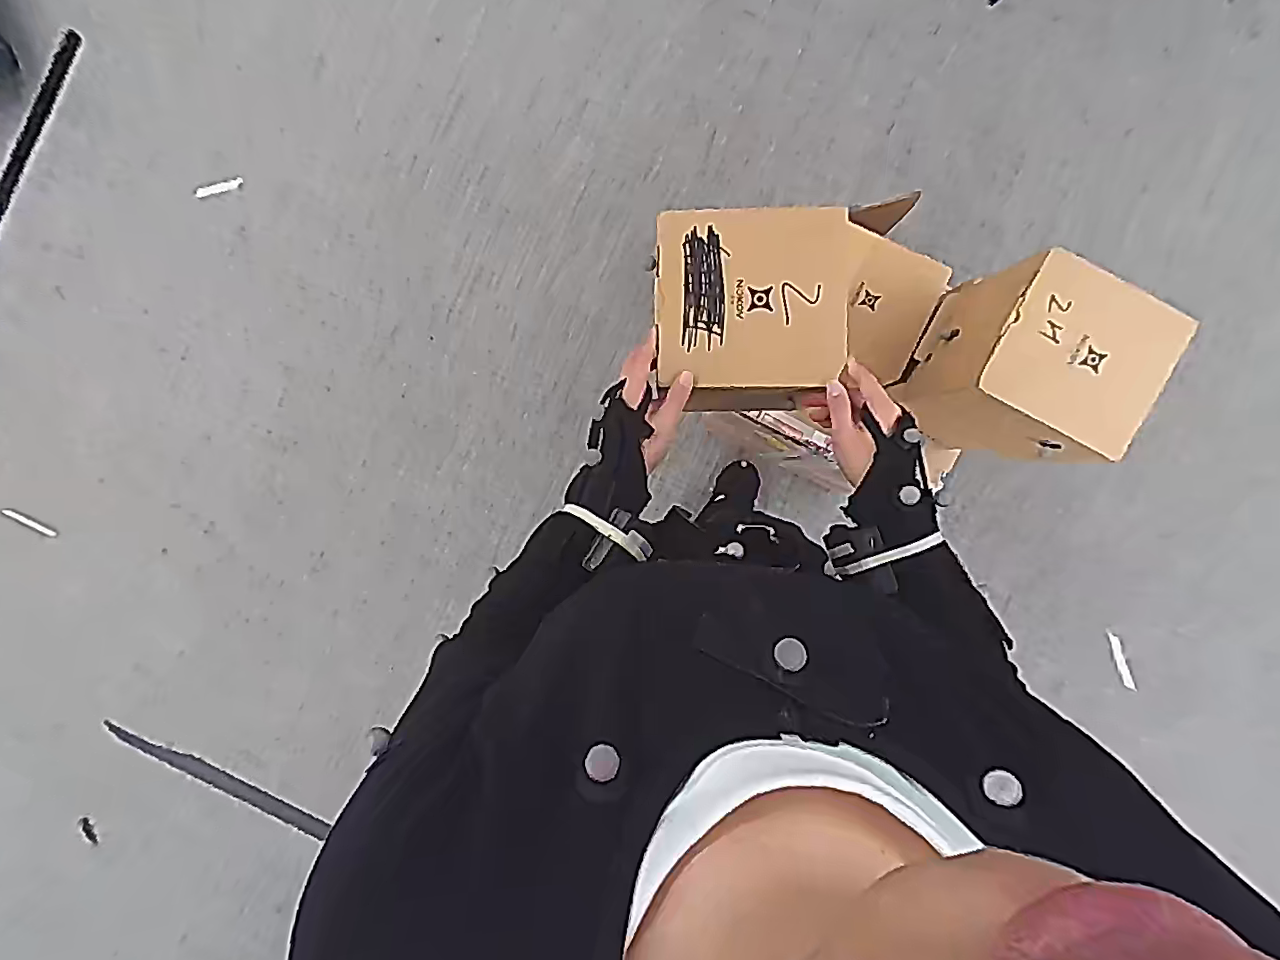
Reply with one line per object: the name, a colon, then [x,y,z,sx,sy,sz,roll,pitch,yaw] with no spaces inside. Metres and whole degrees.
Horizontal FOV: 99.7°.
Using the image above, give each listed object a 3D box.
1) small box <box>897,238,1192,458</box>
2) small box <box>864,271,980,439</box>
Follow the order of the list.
small box: [0.444,-0.139,0.626,0.179,0.176,0.168,27,93,0]
small box: [0.464,-0.167,0.789,0.179,0.176,0.168,30,94,0]
